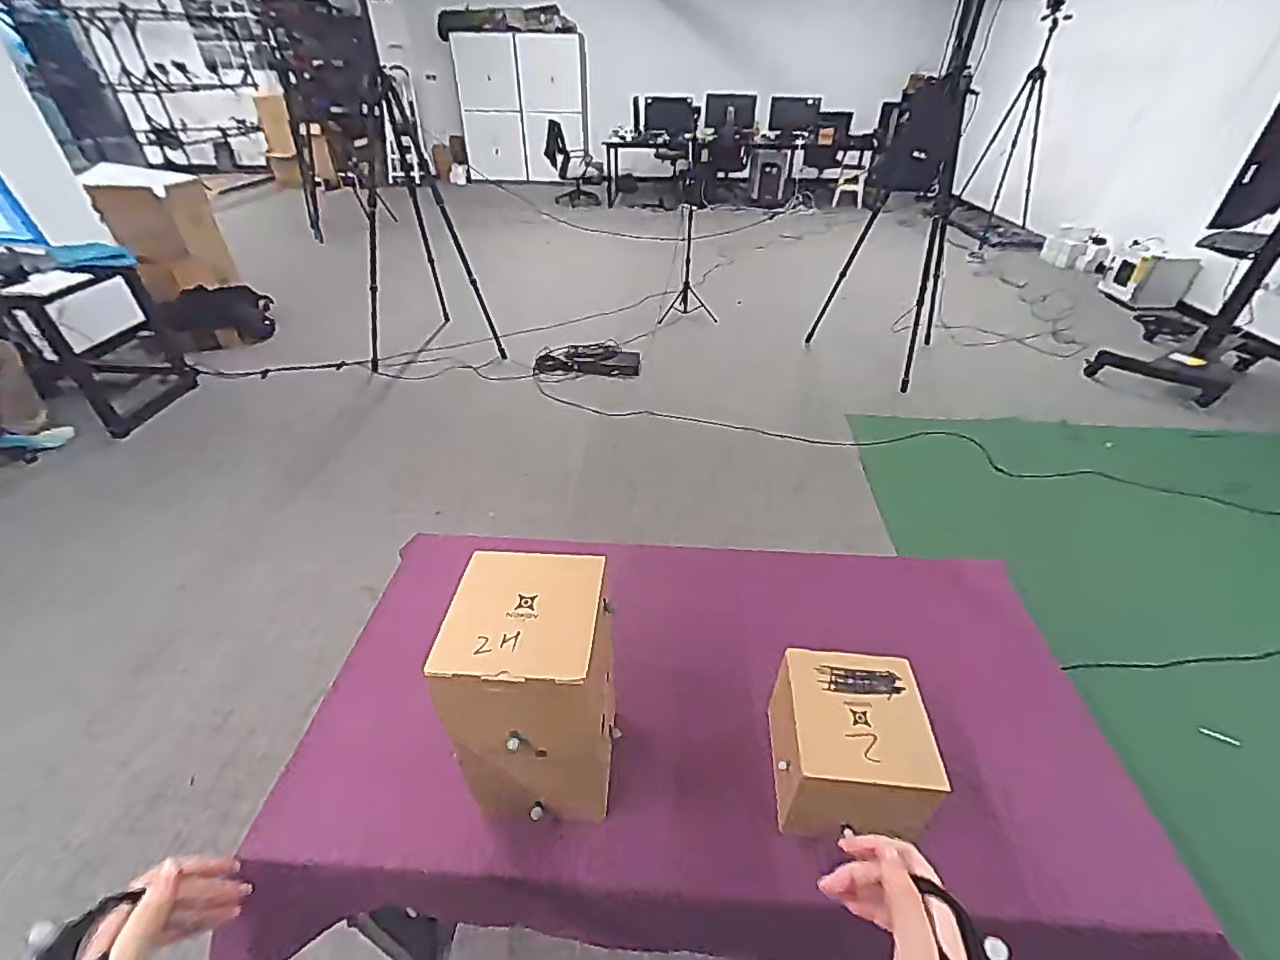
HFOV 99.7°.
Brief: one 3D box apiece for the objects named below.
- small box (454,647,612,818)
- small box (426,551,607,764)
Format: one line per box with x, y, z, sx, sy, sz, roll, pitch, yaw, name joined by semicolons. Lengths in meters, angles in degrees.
-0.133;0.343;0.747;0.179;0.176;0.168;2;37;1;small box
-0.130;0.209;0.650;0.168;0.176;0.179;2;38;3;small box
